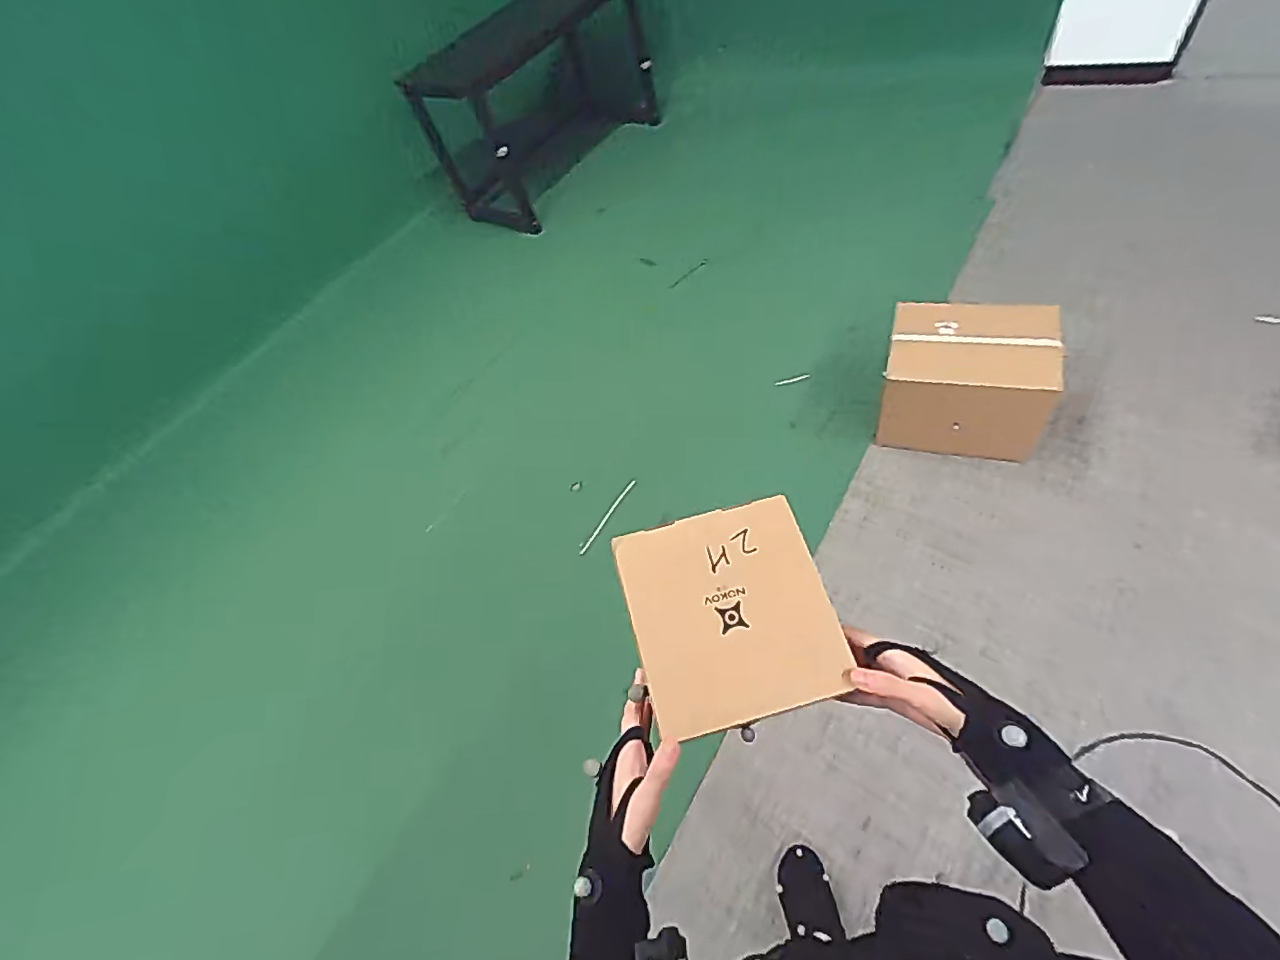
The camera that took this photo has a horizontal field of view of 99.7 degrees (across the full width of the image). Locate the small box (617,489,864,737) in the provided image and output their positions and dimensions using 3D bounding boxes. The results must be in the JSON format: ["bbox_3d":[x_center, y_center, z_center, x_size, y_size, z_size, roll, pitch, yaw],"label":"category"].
[{"bbox_3d":[0.081,0.135,0.521,0.168,0.176,0.179,-13,64,-4],"label":"small box"}]

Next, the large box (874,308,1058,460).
[{"bbox_3d":[0.932,-0.283,1.590,0.408,0.320,0.320,8,59,23],"label":"large box"}]
